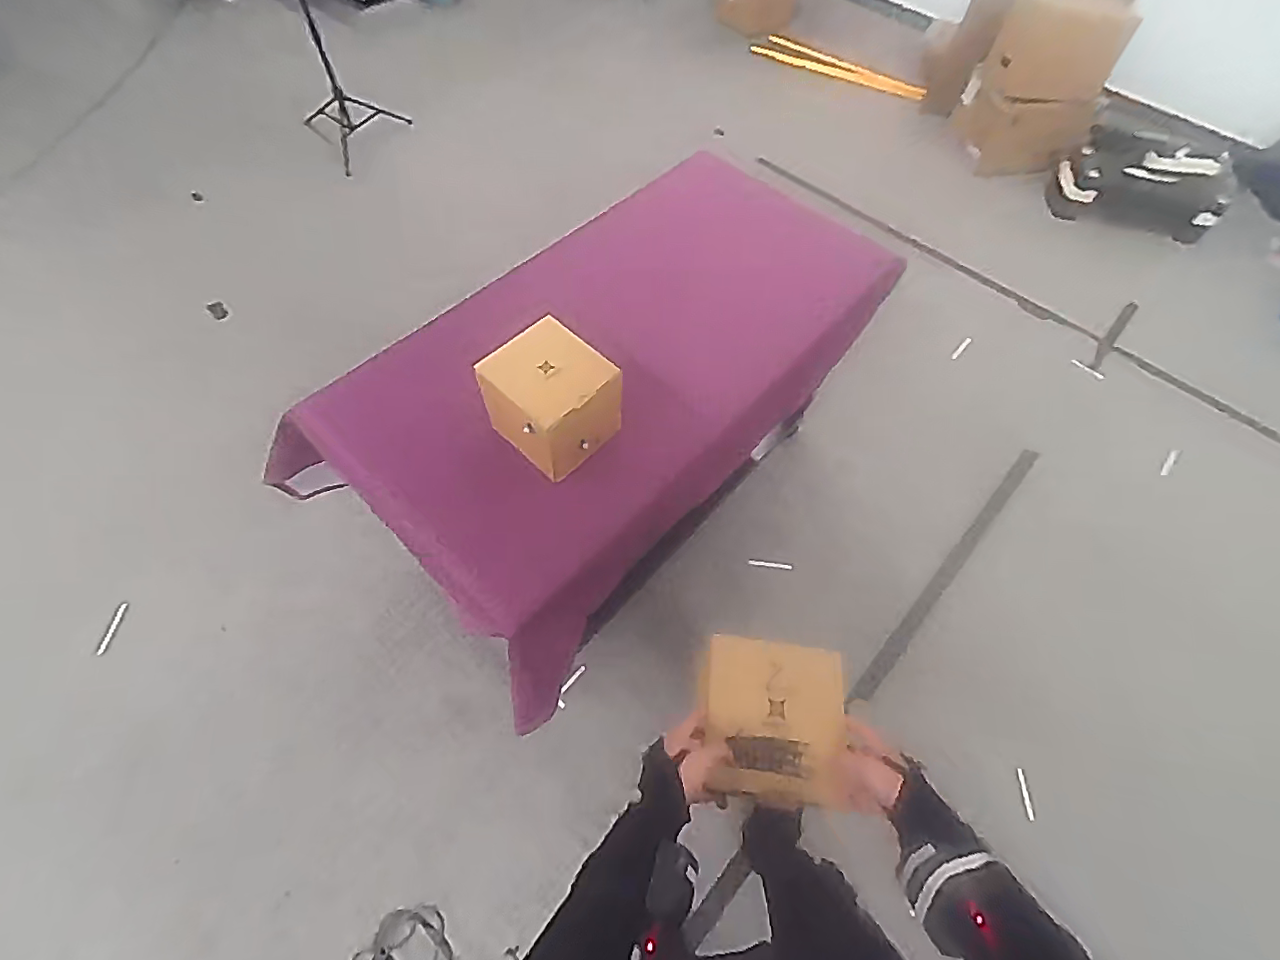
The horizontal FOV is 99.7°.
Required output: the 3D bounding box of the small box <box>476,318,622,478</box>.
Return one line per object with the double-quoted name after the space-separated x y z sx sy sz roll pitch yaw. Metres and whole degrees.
-0.150 -0.135 0.931 0.179 0.176 0.168 40 66 17 "small box"
